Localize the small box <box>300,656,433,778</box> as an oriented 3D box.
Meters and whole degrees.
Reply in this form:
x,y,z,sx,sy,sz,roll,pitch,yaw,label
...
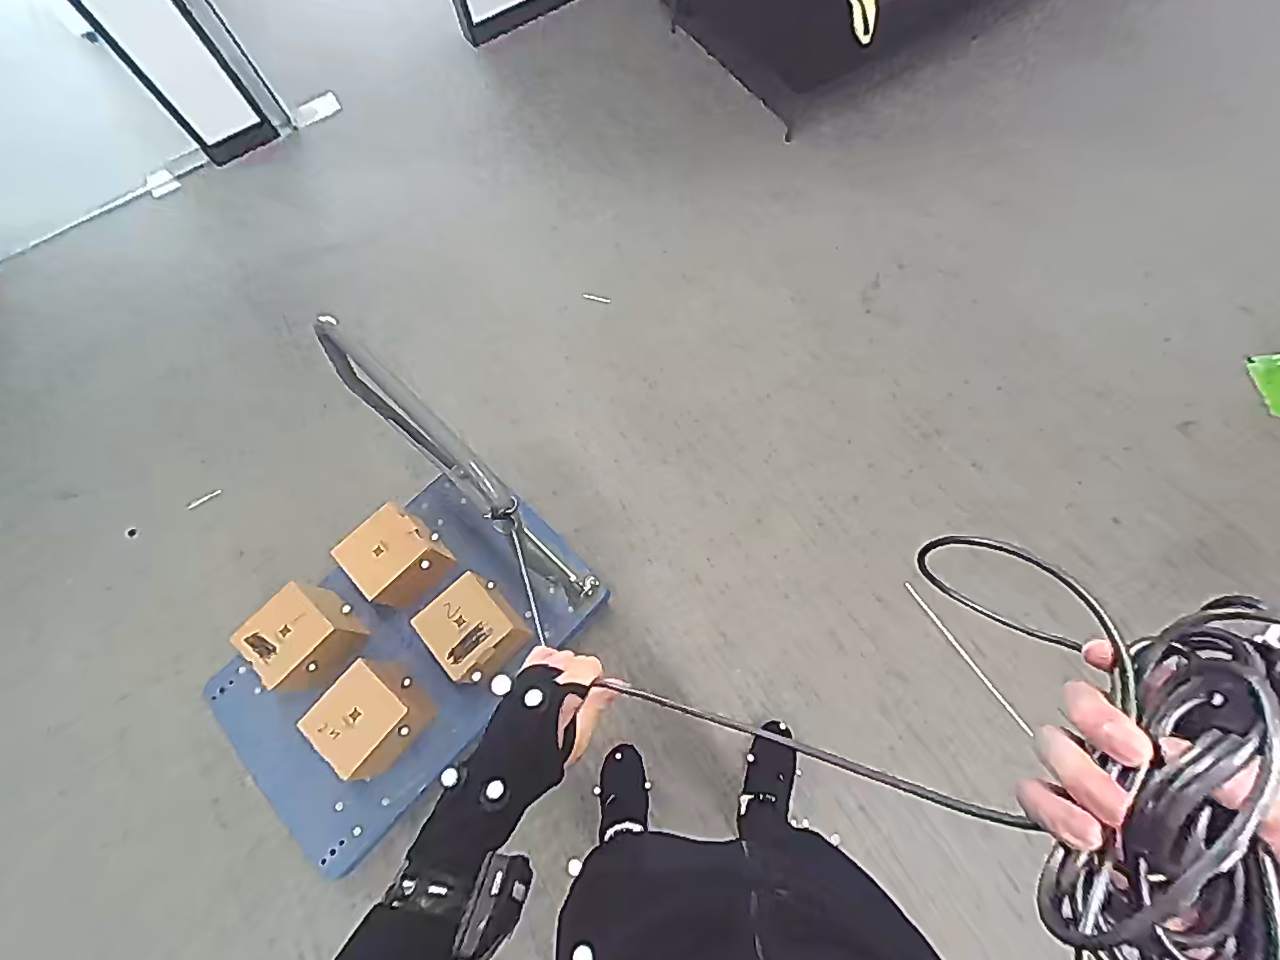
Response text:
x,y,z,sx,sy,sz,roll,pitch,yaw,label
-0.588,0.515,1.194,0.168,0.176,0.179,37,76,17,small box

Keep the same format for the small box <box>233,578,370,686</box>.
x,y,z,sx,sy,sz,roll,pitch,yaw,label
-0.781,0.361,1.265,0.168,0.176,0.179,40,76,16,small box

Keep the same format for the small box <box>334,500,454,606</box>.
x,y,z,sx,sy,sz,roll,pitch,yaw,label
-0.591,0.185,1.322,0.179,0.176,0.168,-44,73,-13,small box
